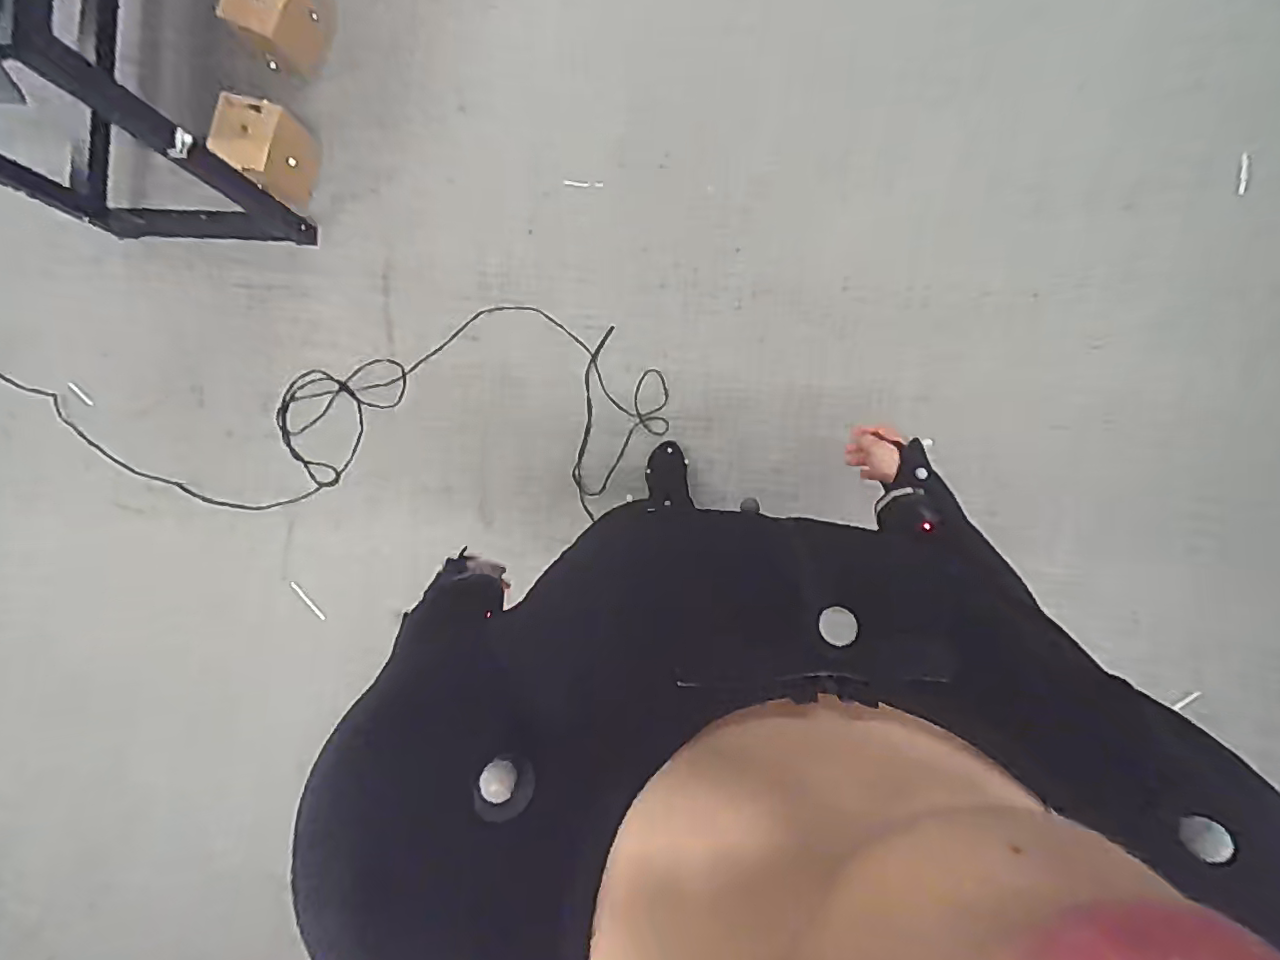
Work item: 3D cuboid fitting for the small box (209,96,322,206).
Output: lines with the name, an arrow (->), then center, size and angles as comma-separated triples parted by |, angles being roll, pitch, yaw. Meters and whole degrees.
small box -> -0.990, -0.866, 1.443 | 0.168, 0.176, 0.179 | 16, 91, 2

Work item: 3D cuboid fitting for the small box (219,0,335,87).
small box -> -0.955, -1.211, 1.441 | 0.168, 0.176, 0.179 | 24, 92, 3
